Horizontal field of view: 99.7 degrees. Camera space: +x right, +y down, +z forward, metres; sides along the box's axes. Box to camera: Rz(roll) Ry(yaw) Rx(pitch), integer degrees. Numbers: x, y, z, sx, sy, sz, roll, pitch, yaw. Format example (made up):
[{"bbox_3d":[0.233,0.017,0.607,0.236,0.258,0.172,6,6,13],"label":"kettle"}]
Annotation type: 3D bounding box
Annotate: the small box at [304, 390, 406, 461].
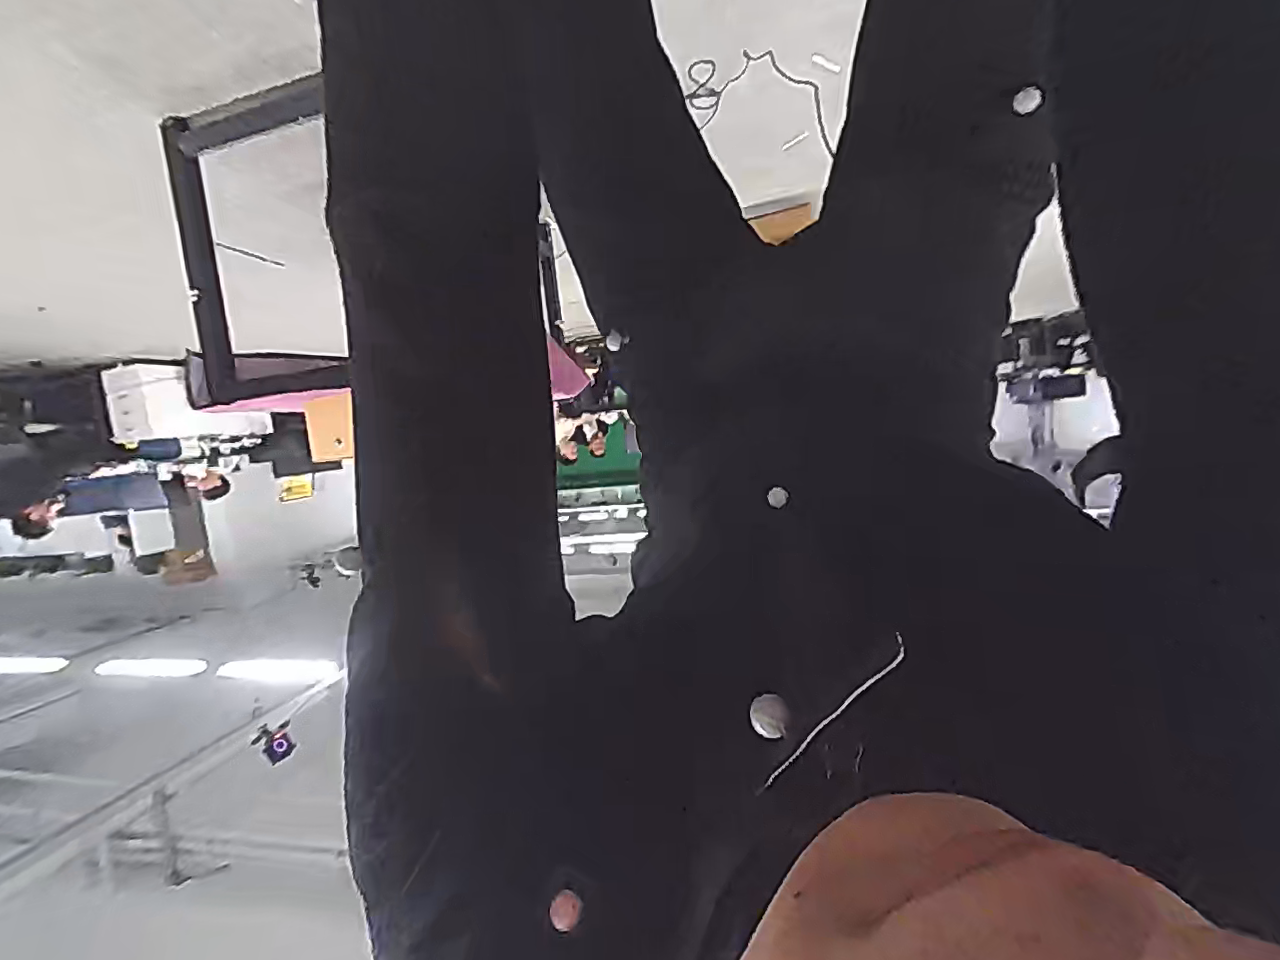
[{"bbox_3d":[-0.769,-0.152,1.458,0.179,0.176,0.168,-3,-172,19],"label":"small box"}]
